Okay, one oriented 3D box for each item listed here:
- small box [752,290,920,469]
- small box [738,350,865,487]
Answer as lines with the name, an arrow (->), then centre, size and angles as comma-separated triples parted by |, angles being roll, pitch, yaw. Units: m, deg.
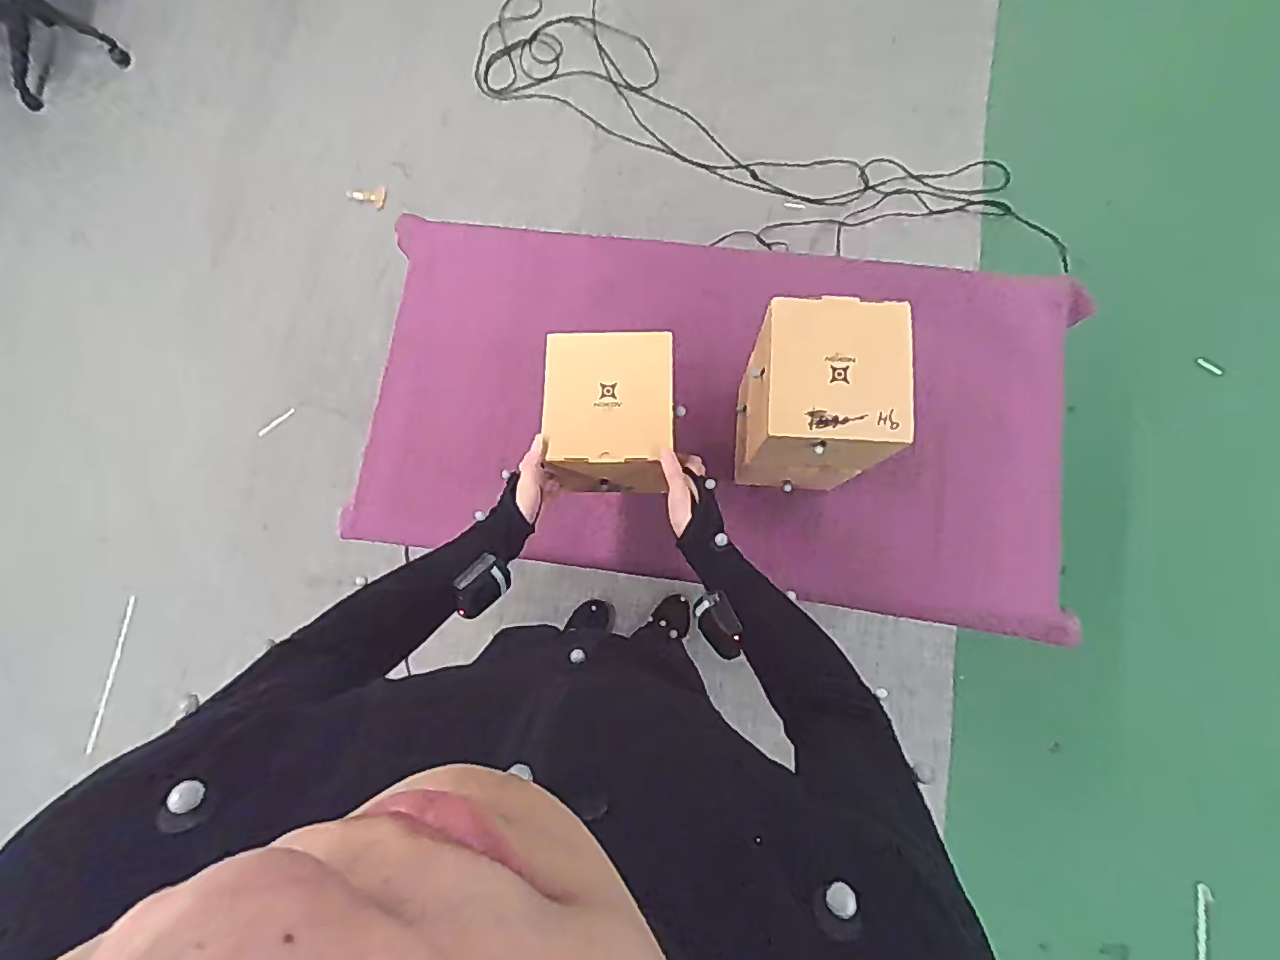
small box -> 0.241, -0.121, 0.701 | 0.168, 0.176, 0.179 | 3, 80, 4
small box -> 0.250, -0.093, 0.863 | 0.168, 0.176, 0.179 | 4, 81, 4
